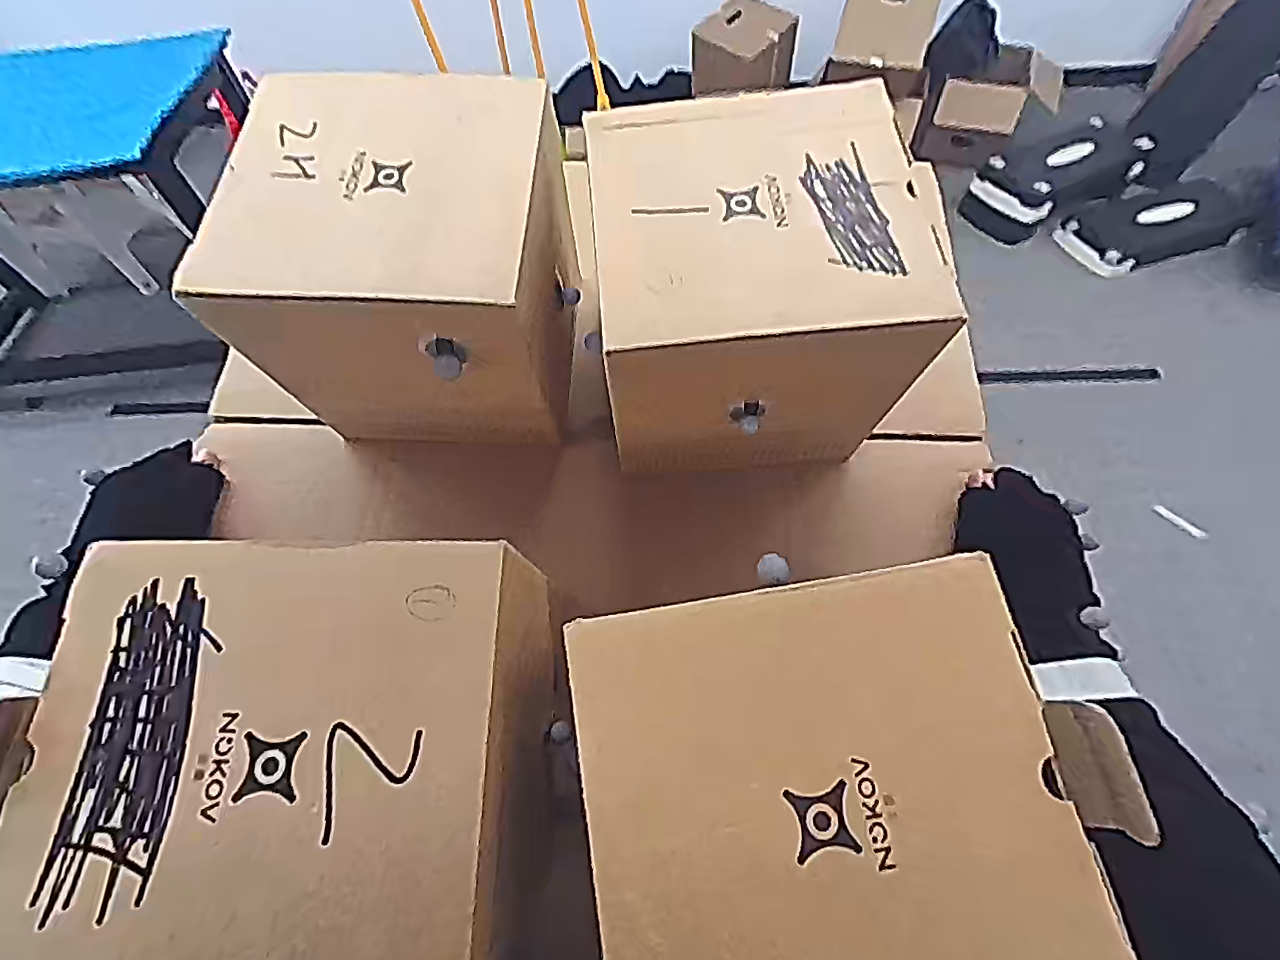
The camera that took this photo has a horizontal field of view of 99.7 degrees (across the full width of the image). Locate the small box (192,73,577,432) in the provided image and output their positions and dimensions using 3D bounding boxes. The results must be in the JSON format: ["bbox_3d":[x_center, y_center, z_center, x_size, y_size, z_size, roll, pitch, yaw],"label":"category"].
[{"bbox_3d":[-0.144,-0.143,0.383,0.179,0.176,0.168,3,69,2],"label":"small box"}]
